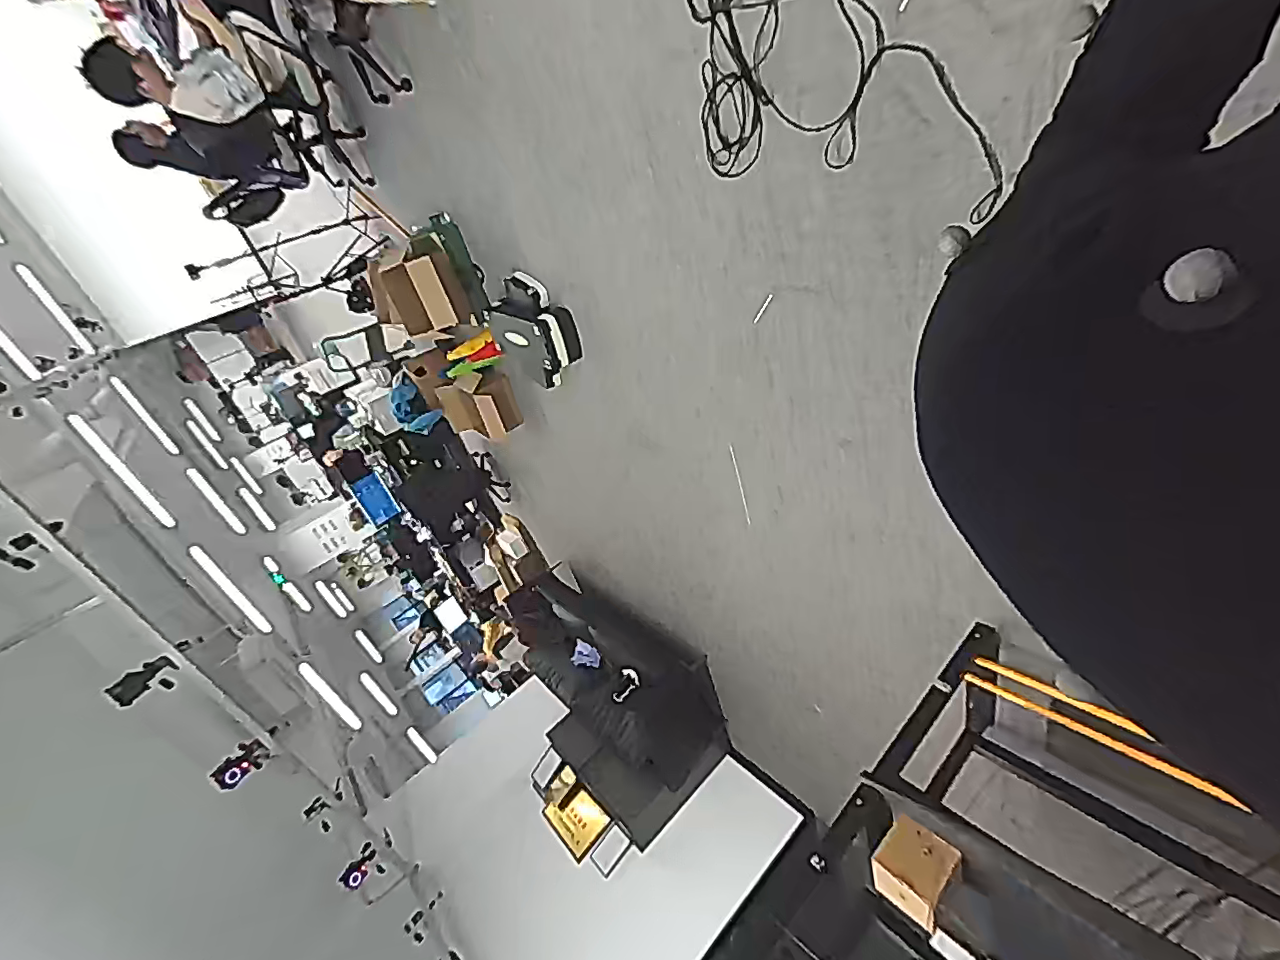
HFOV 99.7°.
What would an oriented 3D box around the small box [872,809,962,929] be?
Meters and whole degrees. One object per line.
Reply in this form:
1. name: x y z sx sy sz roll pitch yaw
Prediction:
1. small box: 0.764 1.062 1.487 0.168 0.176 0.179 20 138 49
